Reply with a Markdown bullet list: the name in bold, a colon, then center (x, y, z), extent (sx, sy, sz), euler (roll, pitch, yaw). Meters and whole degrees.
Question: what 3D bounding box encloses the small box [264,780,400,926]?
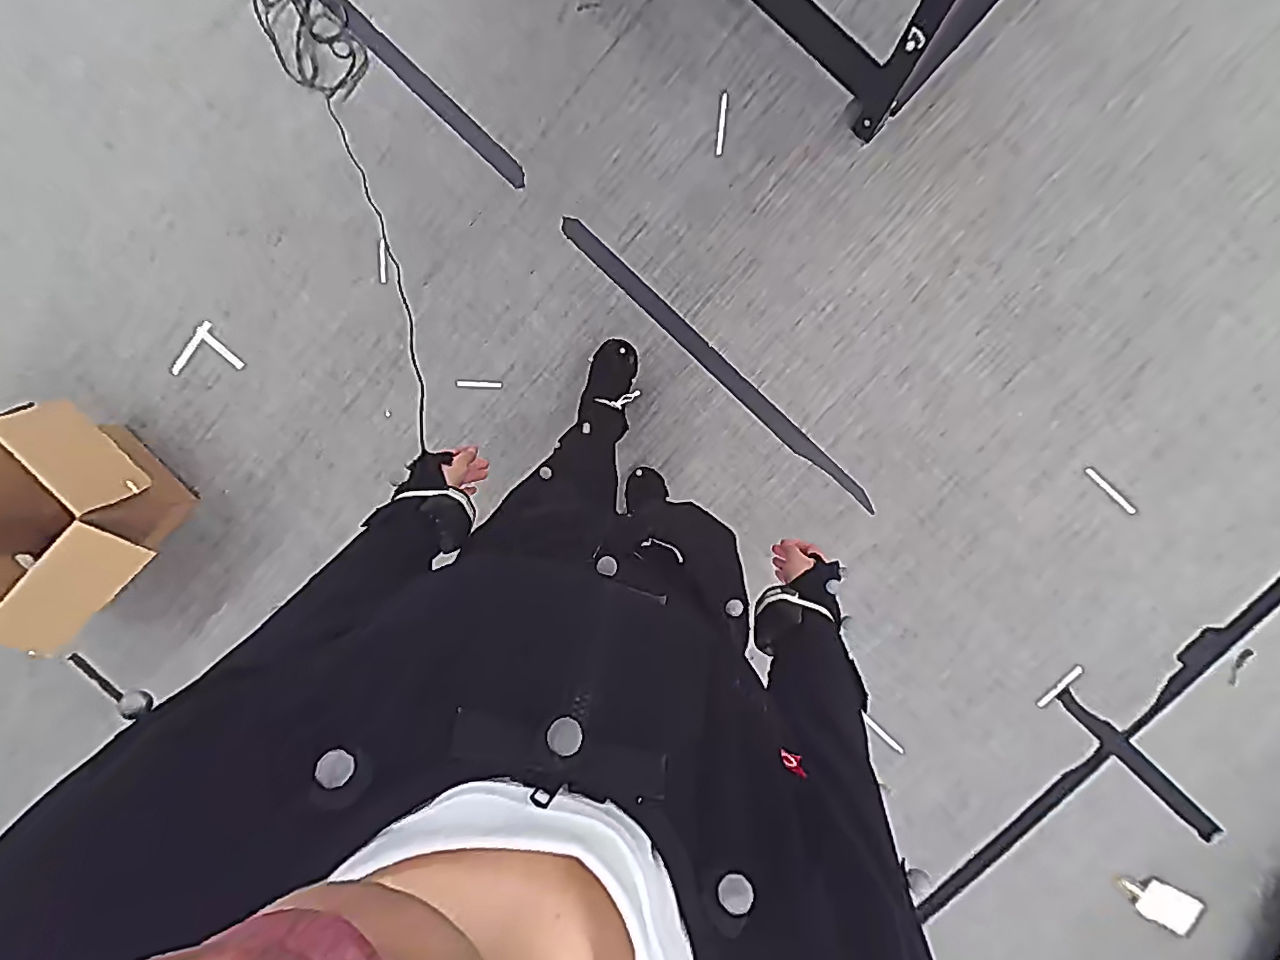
- **small box**: center (-0.692, 0.841, 1.236), extent (0.168, 0.176, 0.179), euler (39, 96, 0)
